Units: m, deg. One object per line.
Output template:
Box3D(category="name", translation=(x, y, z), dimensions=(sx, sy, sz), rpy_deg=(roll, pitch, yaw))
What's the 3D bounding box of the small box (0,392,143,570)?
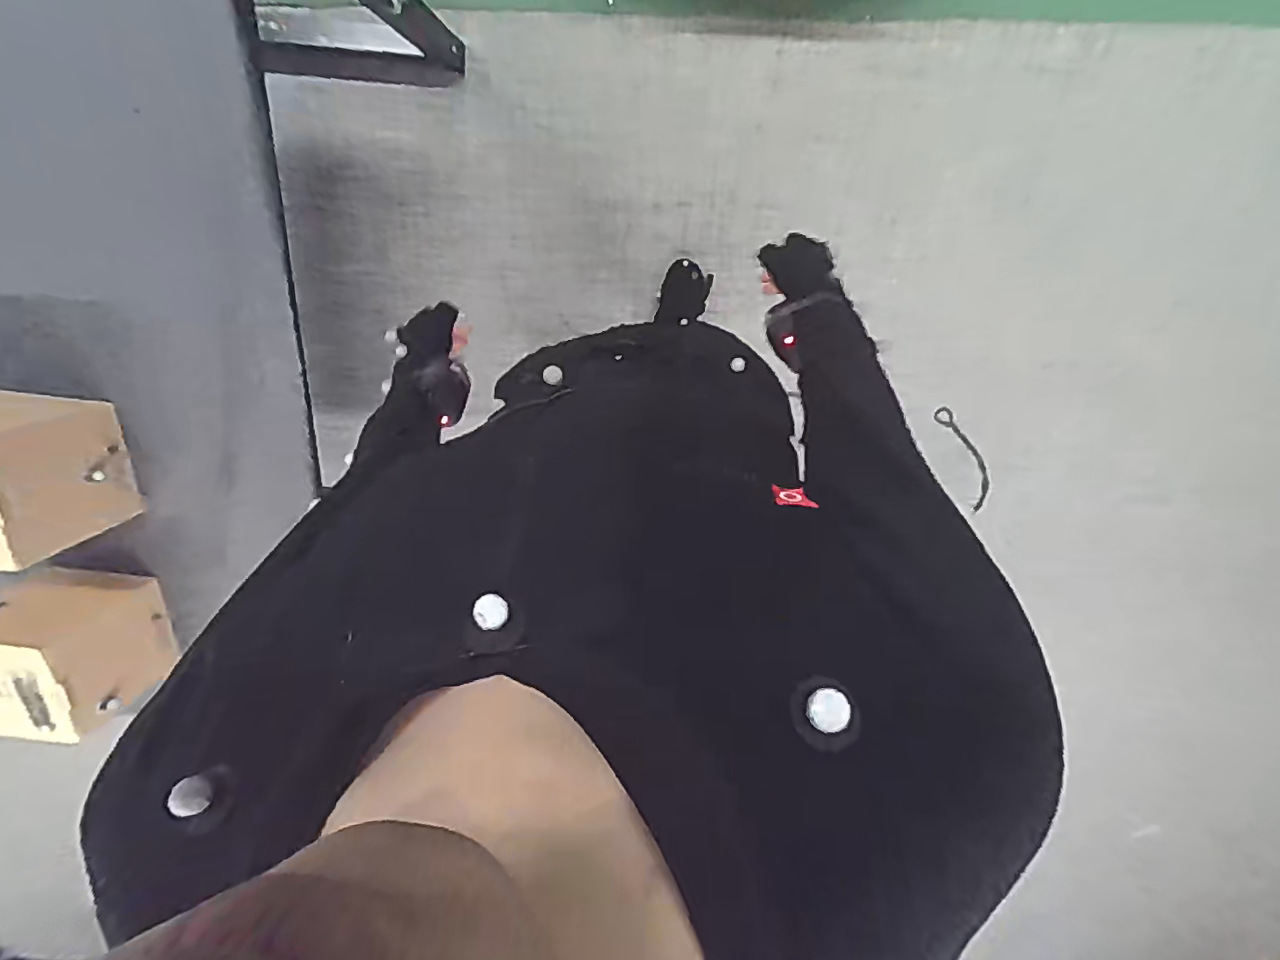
Box3D(category="small box", translation=(-0.801, -0.008, 0.685), dimensions=(0.179, 0.176, 0.168), rpy_deg=(6, 113, 0))
